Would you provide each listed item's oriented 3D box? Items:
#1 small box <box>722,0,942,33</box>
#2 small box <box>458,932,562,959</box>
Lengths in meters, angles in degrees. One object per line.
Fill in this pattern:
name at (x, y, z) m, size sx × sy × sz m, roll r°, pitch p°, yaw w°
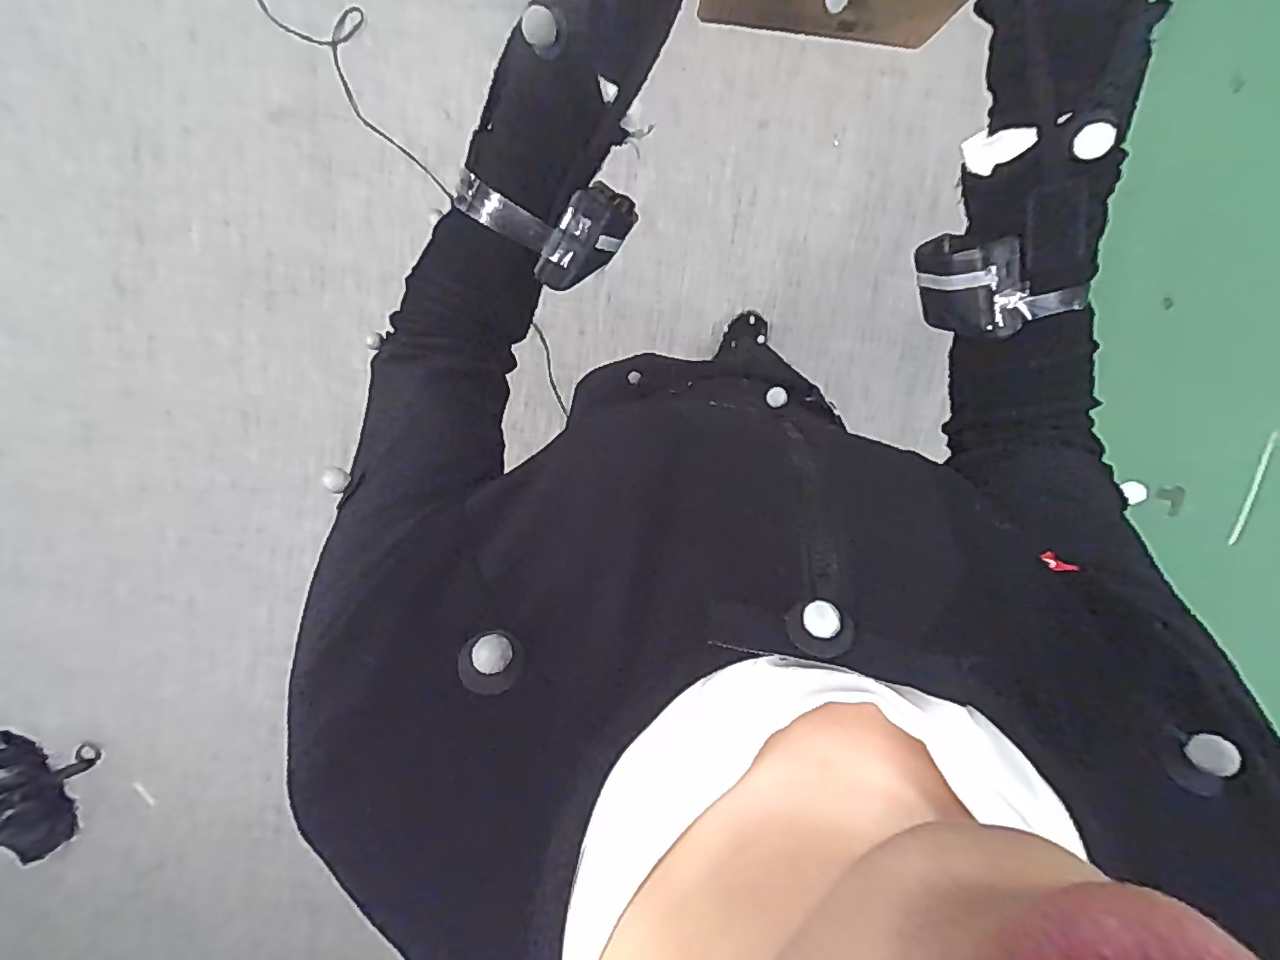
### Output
small box at (0.126, -0.384, 0.292) m, size 0.168 × 0.176 × 0.179 m, roll 7°, pitch 109°, yaw 1°
small box at (-0.228, 0.897, 0.896) m, size 0.179 × 0.176 × 0.168 m, roll -1°, pitch 99°, yaw 0°
